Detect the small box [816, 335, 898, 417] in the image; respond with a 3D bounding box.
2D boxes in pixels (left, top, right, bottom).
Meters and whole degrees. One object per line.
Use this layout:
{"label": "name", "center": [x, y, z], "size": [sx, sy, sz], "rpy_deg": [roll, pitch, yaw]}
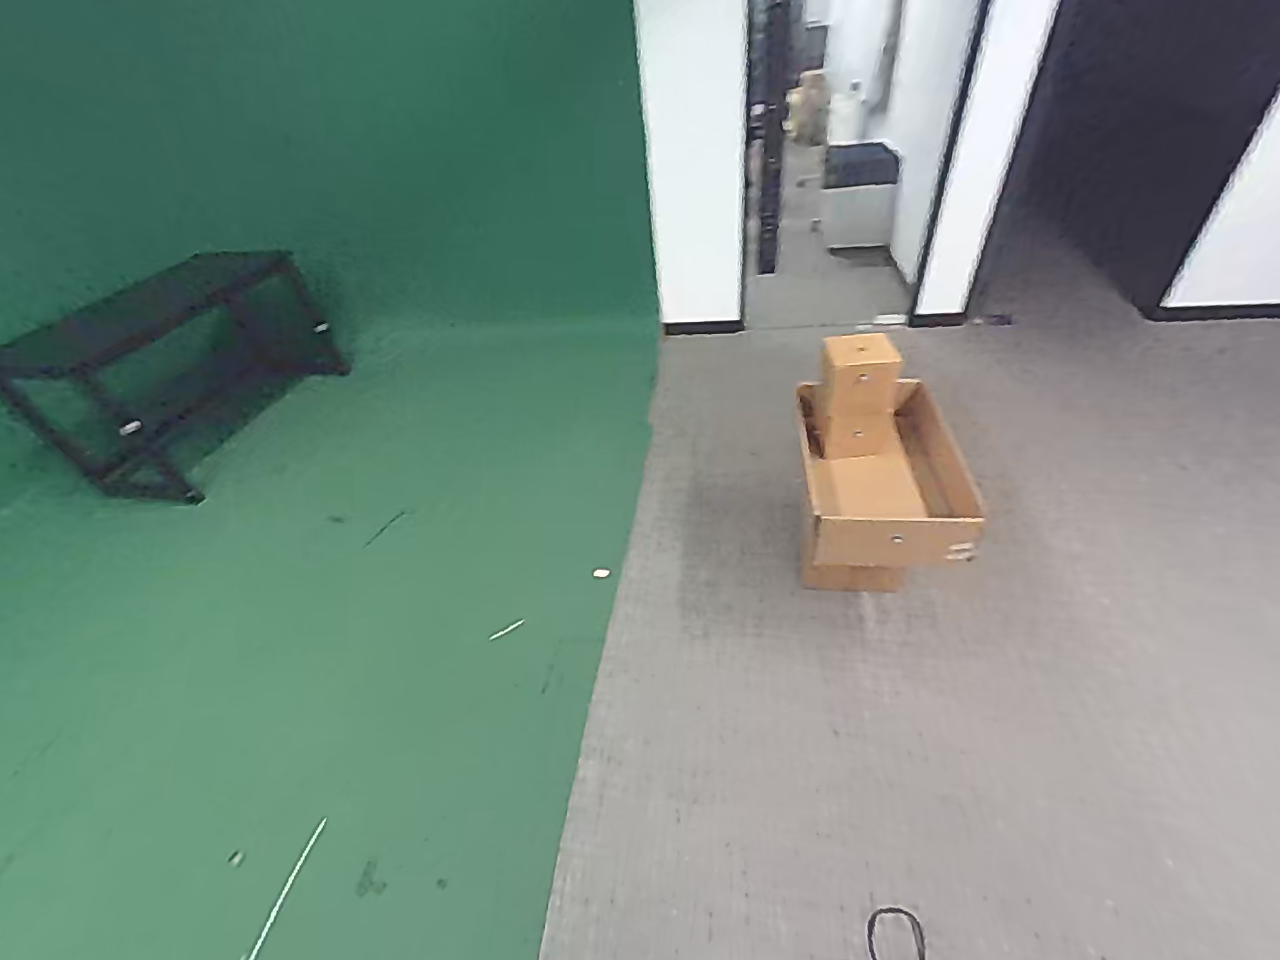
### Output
{"label": "small box", "center": [0.620, -0.300, 1.568], "size": [0.179, 0.176, 0.168], "rpy_deg": [-4, 42, 6]}
